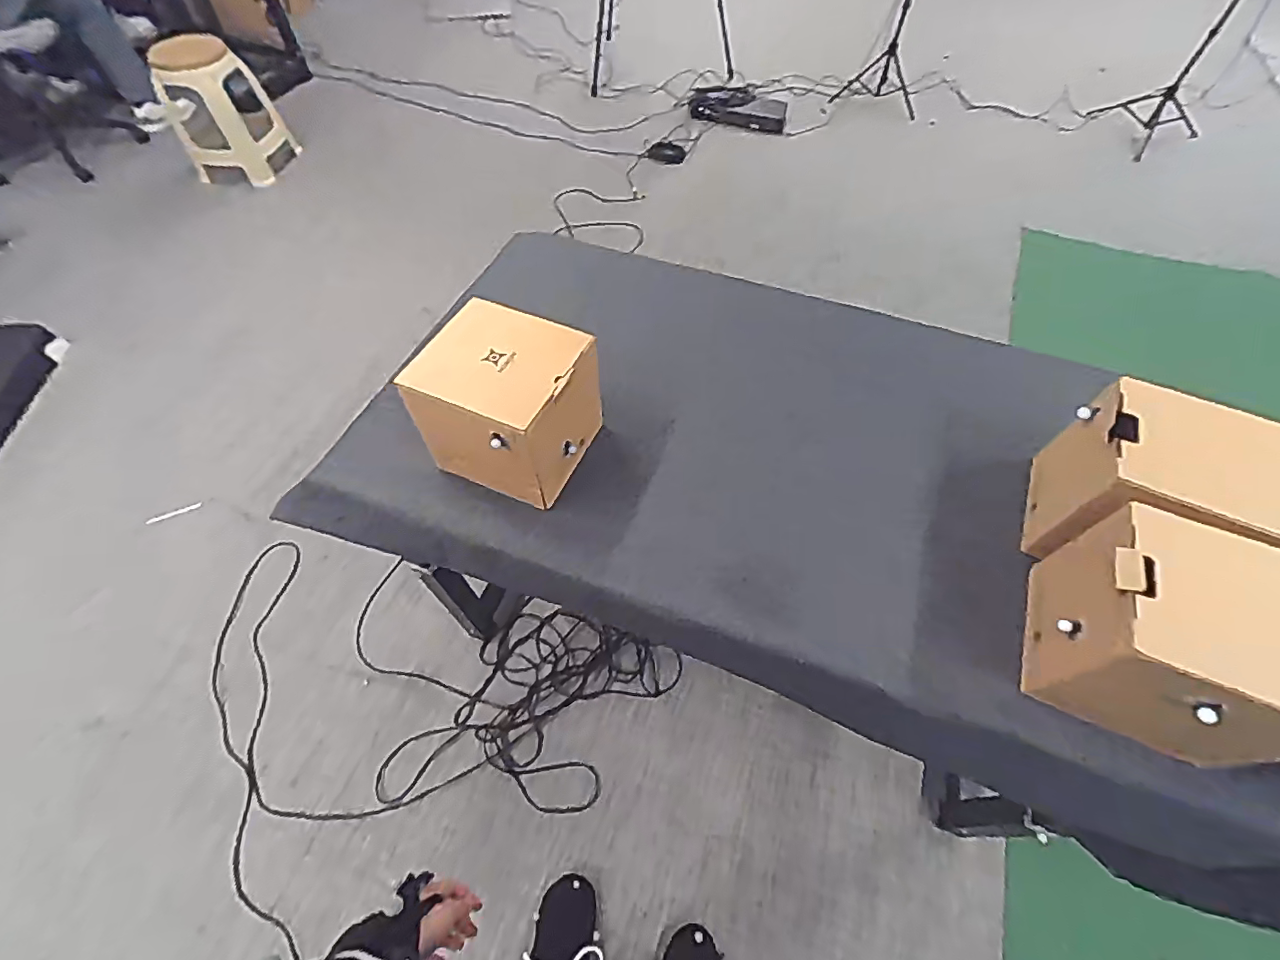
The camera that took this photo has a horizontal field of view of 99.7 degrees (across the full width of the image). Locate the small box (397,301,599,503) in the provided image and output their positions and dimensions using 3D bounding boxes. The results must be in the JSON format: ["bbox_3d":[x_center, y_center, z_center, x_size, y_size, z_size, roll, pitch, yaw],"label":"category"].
[{"bbox_3d":[-0.165,-0.095,0.696,0.179,0.176,0.168,21,58,12],"label":"small box"}]
